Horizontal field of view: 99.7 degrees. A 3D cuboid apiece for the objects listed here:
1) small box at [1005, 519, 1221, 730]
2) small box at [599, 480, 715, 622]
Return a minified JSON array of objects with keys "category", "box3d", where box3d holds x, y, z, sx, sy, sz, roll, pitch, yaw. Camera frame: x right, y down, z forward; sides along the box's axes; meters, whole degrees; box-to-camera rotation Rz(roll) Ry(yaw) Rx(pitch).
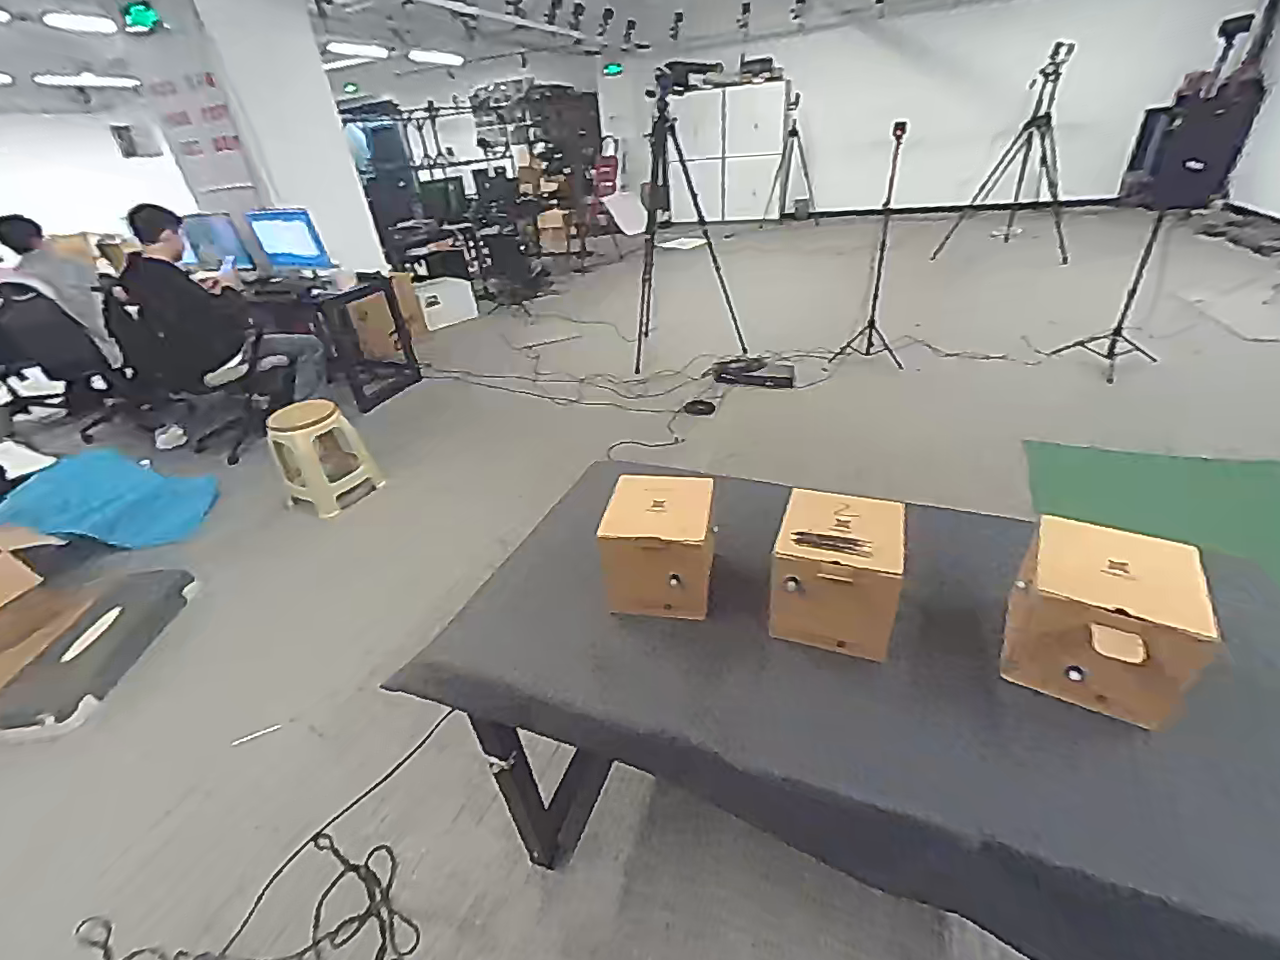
[{"category":"small box","box3d":[0.603,0.183,0.714,0.168,0.176,0.179,15,38,30]},{"category":"small box","box3d":[0.039,0.118,0.916,0.168,0.176,0.179,3,32,11]}]
